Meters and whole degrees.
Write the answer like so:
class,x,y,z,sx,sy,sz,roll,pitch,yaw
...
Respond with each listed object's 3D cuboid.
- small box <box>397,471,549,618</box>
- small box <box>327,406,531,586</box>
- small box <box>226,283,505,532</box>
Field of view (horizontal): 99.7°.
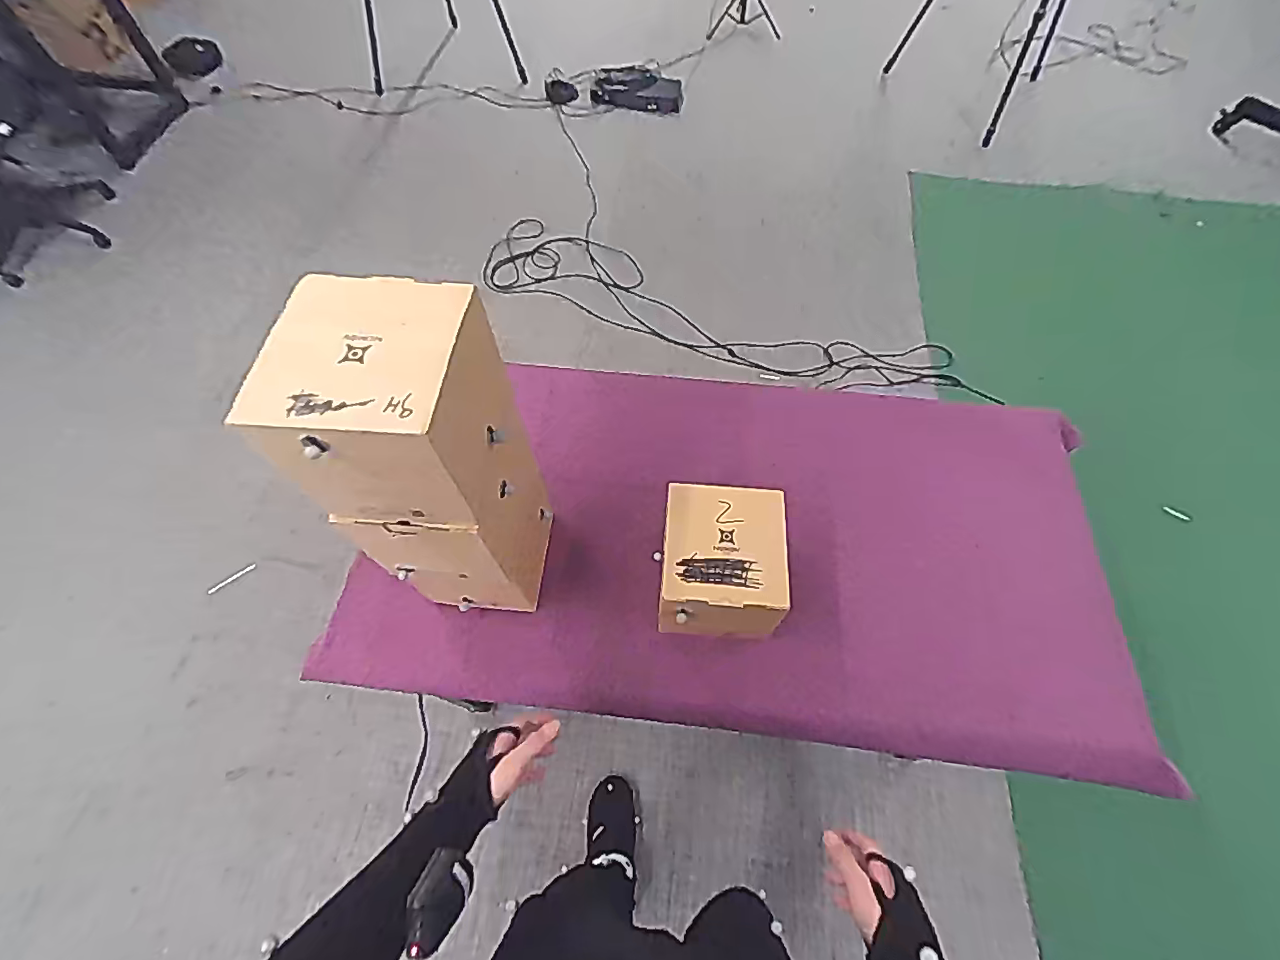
class,x,y,z,sx,sy,sz,roll,pitch,yaw
small box,-0.240,0.096,0.821,0.168,0.176,0.179,4,61,3
small box,-0.242,0.021,0.675,0.168,0.176,0.179,4,59,3
small box,-0.242,-0.067,0.536,0.168,0.176,0.179,3,59,3
